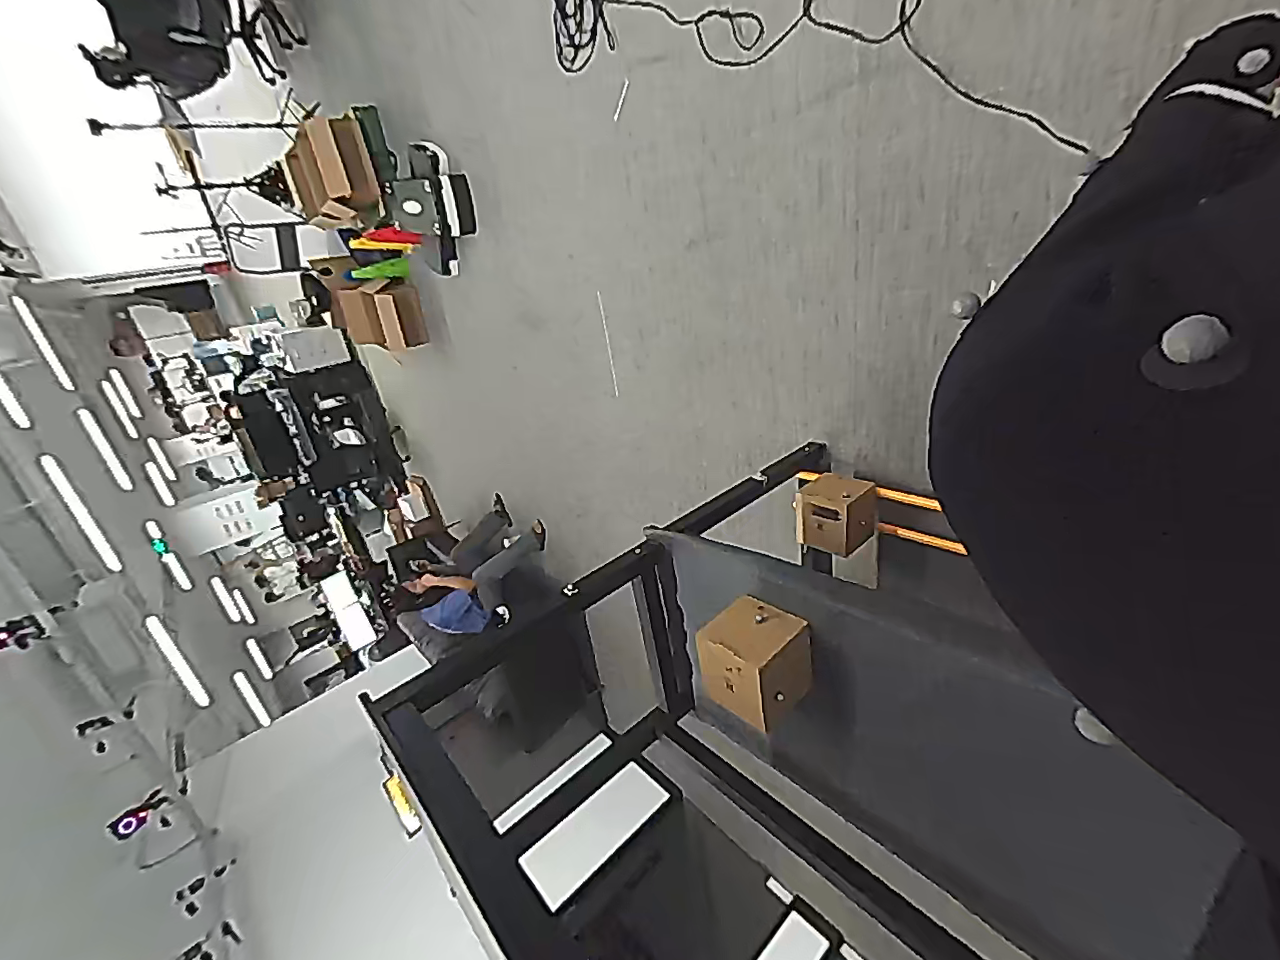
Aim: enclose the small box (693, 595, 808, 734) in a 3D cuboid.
[{"bbox_3d":[0.236,0.375,1.128,0.168,0.176,0.179,16,125,46],"label":"small box"}]
